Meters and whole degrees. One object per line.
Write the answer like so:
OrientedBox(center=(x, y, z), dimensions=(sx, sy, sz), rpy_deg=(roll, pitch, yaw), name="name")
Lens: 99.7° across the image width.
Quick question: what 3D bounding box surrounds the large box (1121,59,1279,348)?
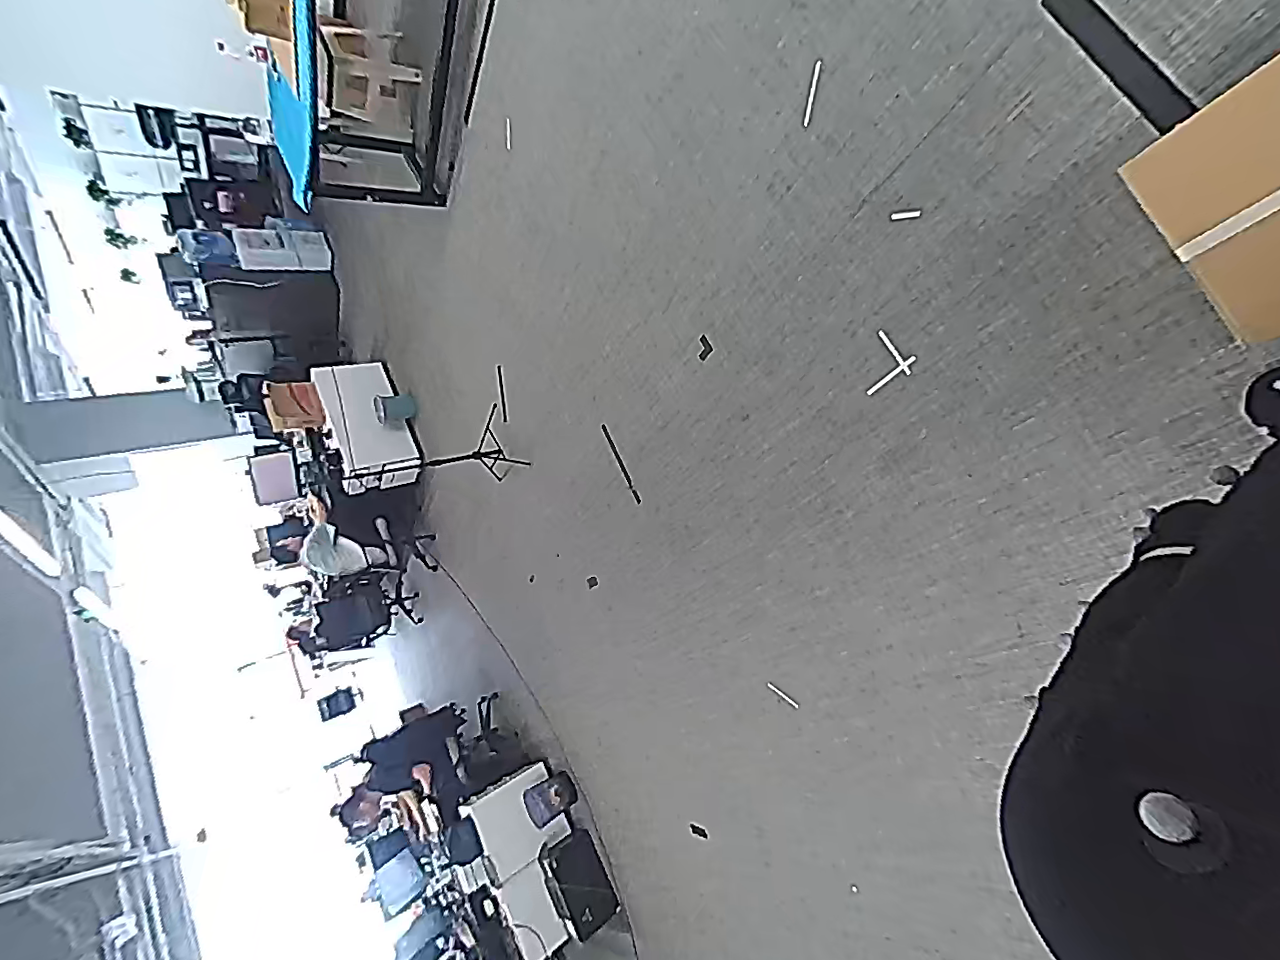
OrientedBox(center=(0.973, -0.421, 0.698), dimensions=(0.408, 0.320, 0.320), rpy_deg=(-39, 73, 51), name="large box")
